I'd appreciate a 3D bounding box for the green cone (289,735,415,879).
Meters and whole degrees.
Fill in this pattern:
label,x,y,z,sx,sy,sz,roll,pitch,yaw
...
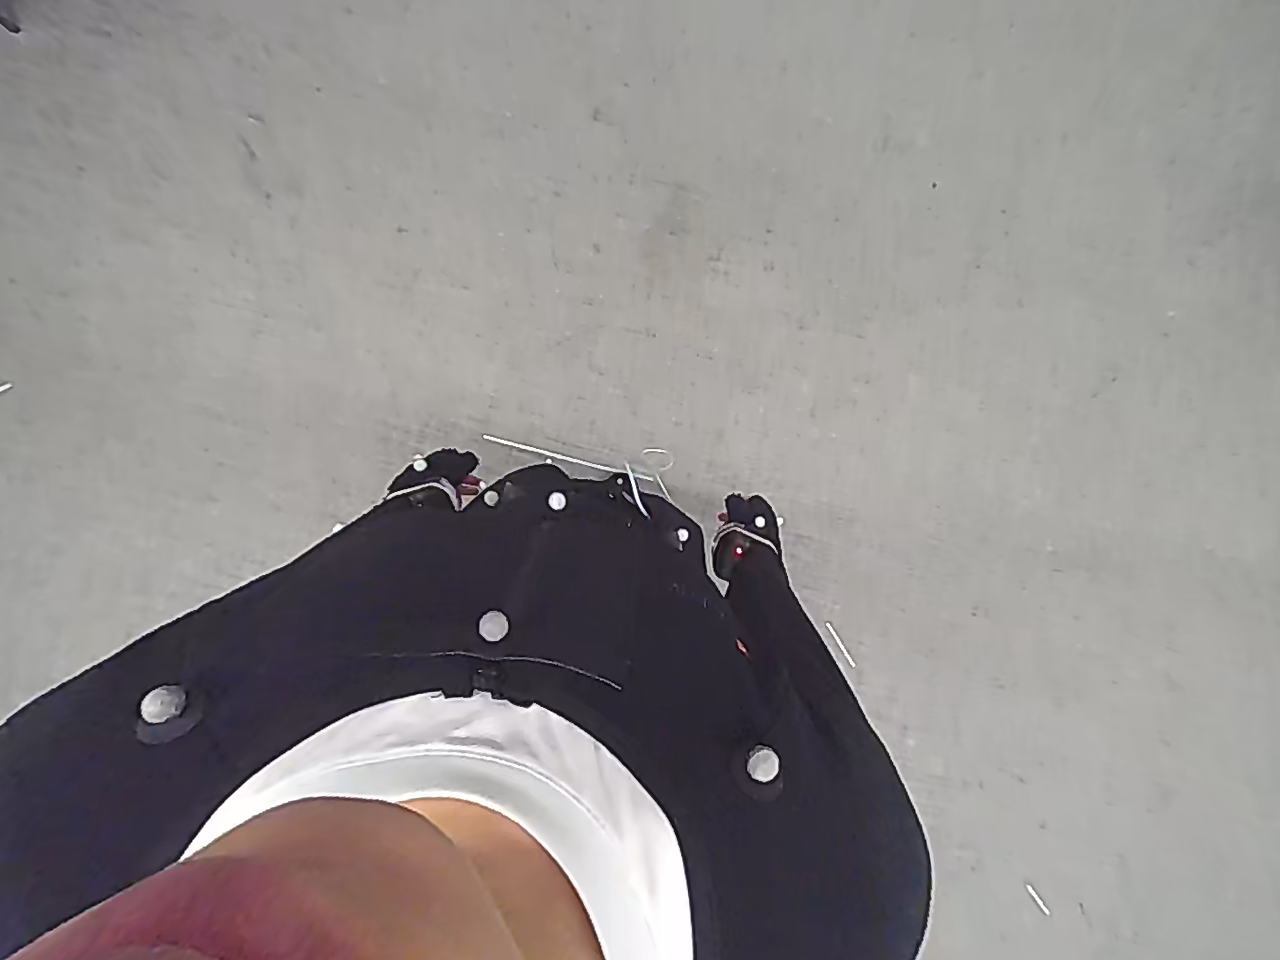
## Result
label,x,y,z,sx,sy,sz,roll,pitch,yaw
green cone,-0.717,0.805,1.291,0.202,0.368,0.200,13,90,-2
